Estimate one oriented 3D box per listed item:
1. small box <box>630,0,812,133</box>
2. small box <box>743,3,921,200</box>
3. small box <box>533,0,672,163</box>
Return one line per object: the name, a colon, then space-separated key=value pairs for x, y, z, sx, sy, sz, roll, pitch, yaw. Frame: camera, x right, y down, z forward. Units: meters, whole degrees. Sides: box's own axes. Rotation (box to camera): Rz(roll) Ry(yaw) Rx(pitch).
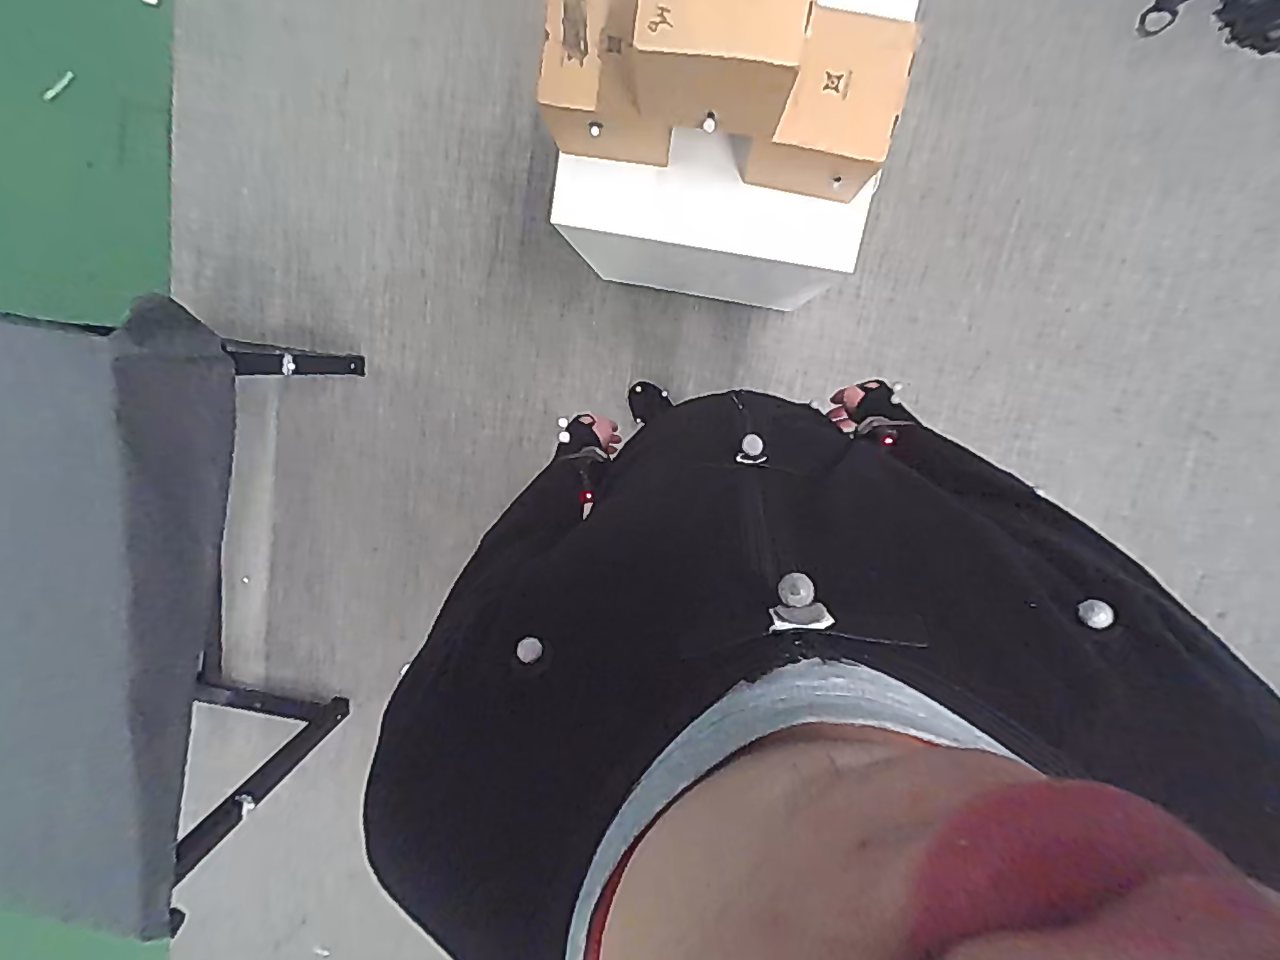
small box: x=0.091 y=-0.519 z=0.607 sx=0.179 sy=0.176 sz=0.168 roll=9 pitch=101 yaw=2
small box: x=0.253 y=-0.516 z=0.761 sx=0.179 sy=0.176 sz=0.168 roll=13 pitch=101 yaw=4
small box: x=-0.038 y=-0.579 z=0.772 sx=0.179 sy=0.176 sz=0.168 roll=9 pitch=102 yaw=1
